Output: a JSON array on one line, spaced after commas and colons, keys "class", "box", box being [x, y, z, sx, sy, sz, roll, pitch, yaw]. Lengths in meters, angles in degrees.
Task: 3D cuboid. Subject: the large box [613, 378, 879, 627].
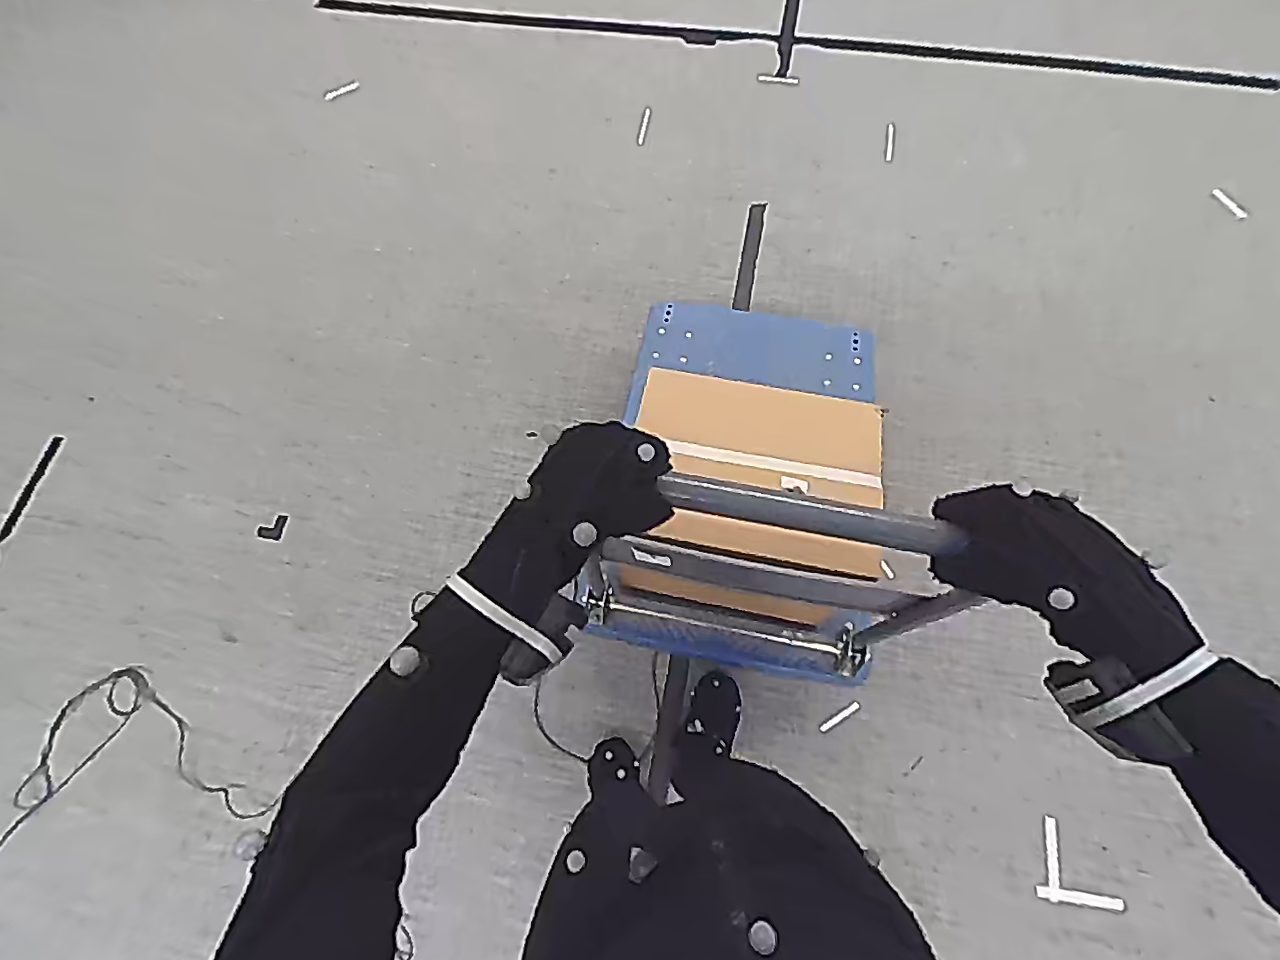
[{"class": "large box", "box": [0.175, 0.053, 0.994, 0.408, 0.320, 0.320, 11, 64, 4]}]
